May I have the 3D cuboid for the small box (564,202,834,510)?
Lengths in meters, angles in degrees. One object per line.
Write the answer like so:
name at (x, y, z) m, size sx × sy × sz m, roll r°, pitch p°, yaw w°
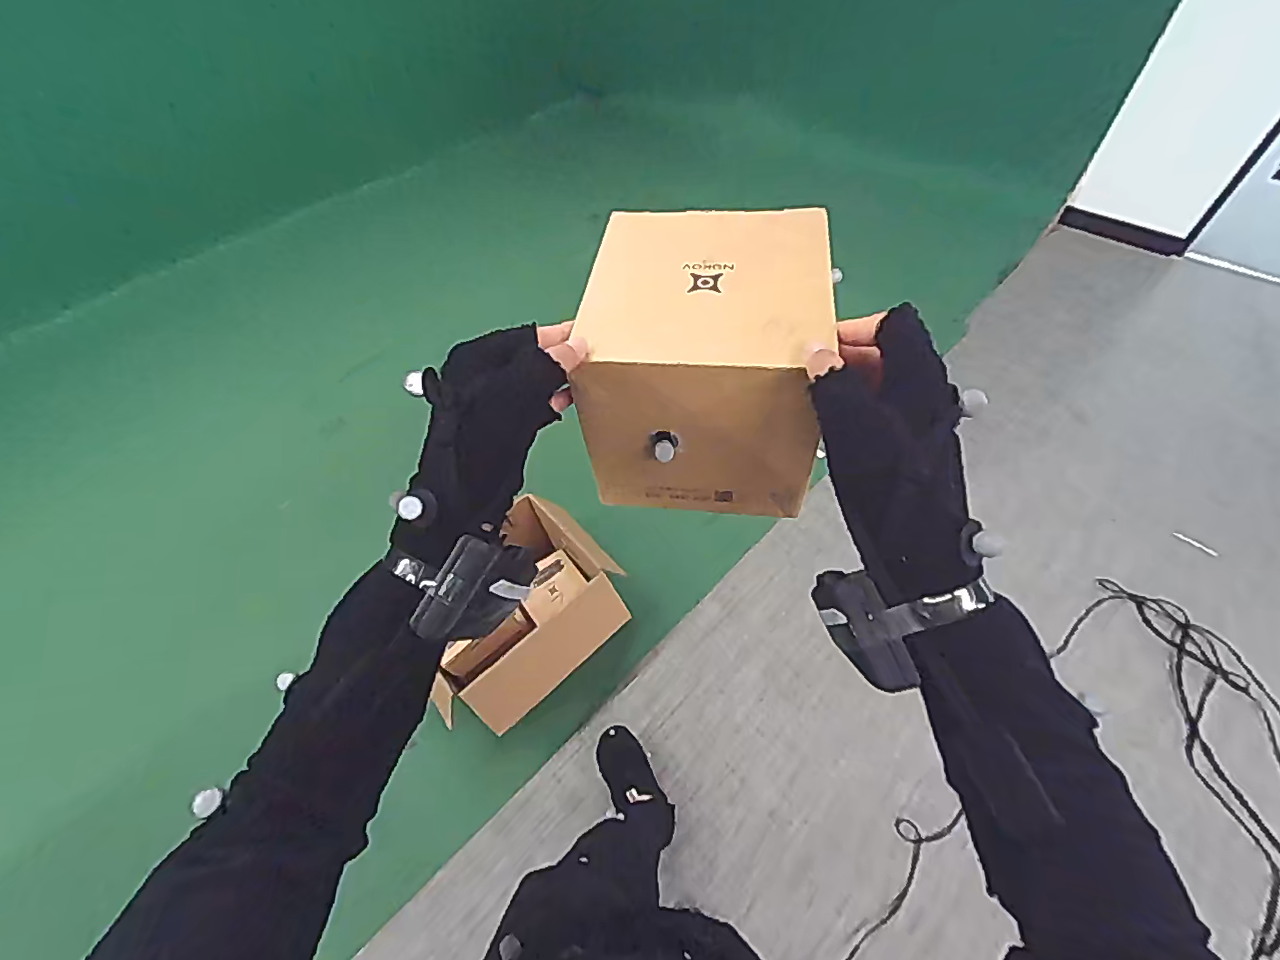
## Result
small box at (0.053, -0.092, 0.431) m, size 0.168 × 0.176 × 0.179 m, roll 3°, pitch 55°, yaw 10°
